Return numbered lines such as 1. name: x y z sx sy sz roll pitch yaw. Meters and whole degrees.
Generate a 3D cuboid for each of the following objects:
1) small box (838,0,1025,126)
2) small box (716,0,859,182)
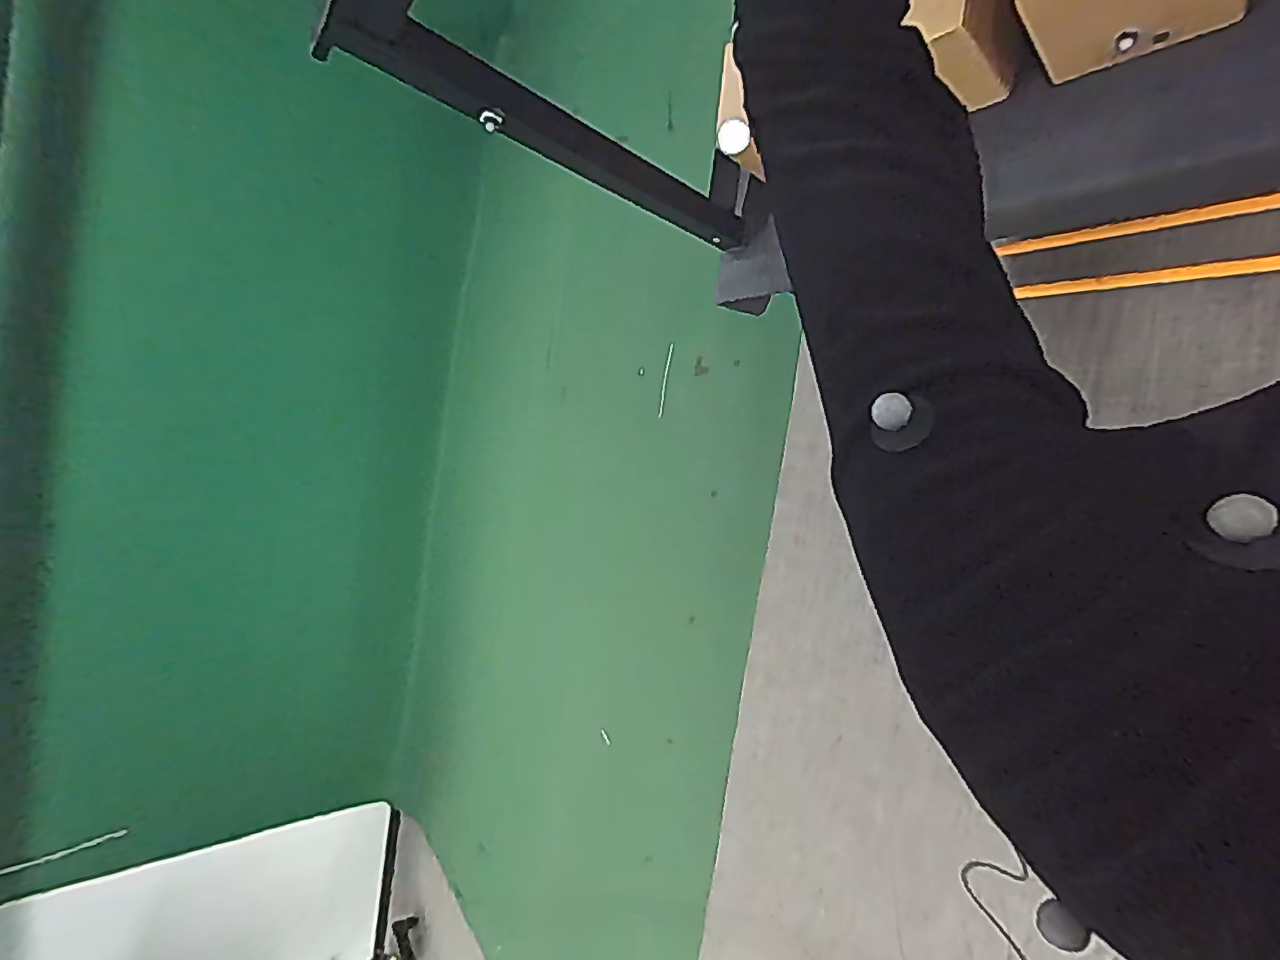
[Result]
1. small box: 0.400 -0.621 0.736 0.168 0.176 0.179 12 94 50
2. small box: 0.254 -0.645 0.909 0.168 0.176 0.179 8 91 50
